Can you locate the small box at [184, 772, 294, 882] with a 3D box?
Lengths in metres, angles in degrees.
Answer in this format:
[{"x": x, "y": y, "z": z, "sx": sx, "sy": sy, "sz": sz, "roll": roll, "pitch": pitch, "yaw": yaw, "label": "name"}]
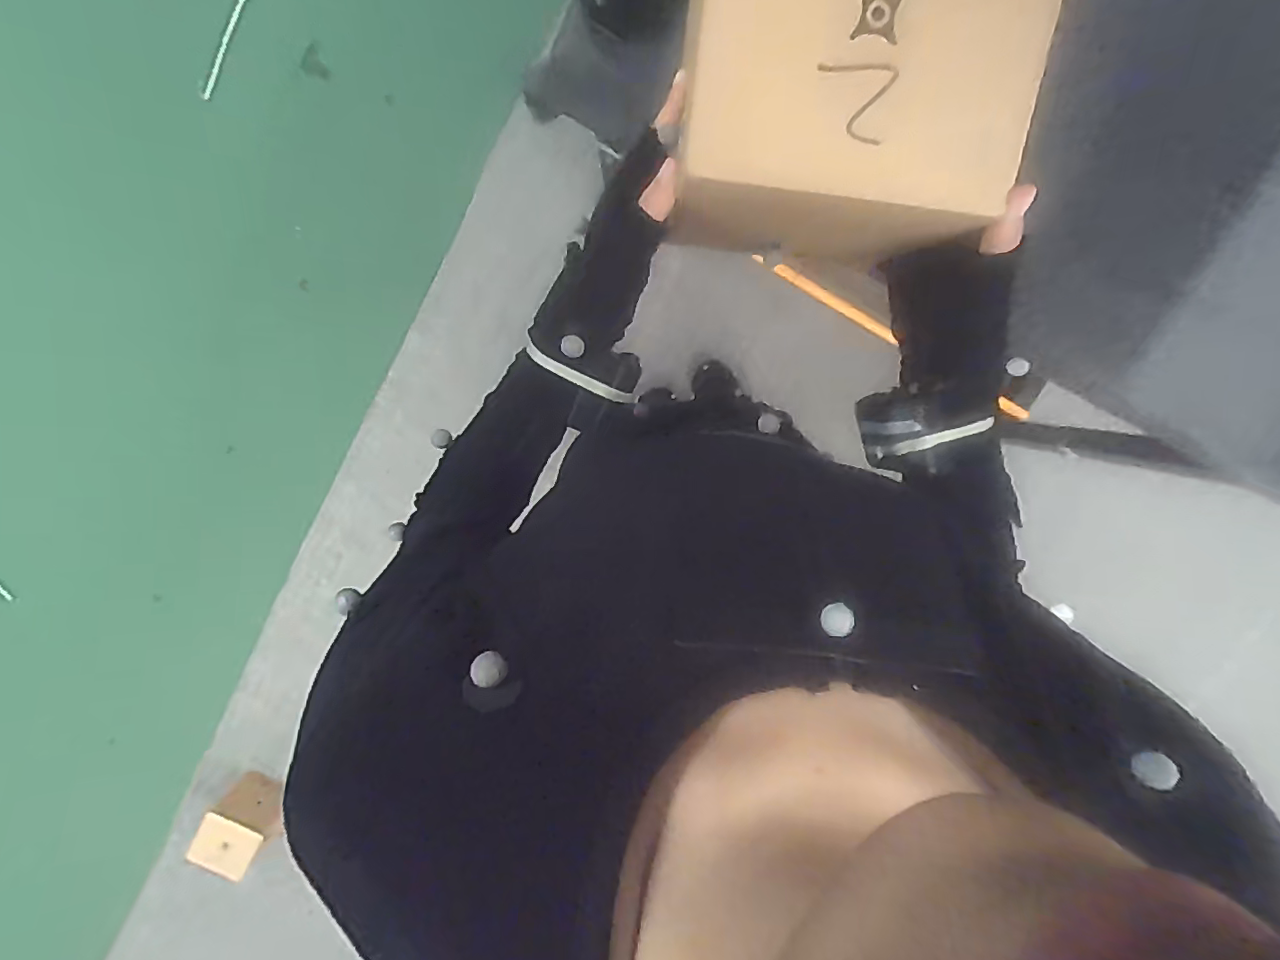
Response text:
[{"x": -1.151, "y": 0.998, "z": 1.571, "sx": 0.168, "sy": 0.176, "sz": 0.179, "roll": 30, "pitch": 98, "yaw": -5, "label": "small box"}]
